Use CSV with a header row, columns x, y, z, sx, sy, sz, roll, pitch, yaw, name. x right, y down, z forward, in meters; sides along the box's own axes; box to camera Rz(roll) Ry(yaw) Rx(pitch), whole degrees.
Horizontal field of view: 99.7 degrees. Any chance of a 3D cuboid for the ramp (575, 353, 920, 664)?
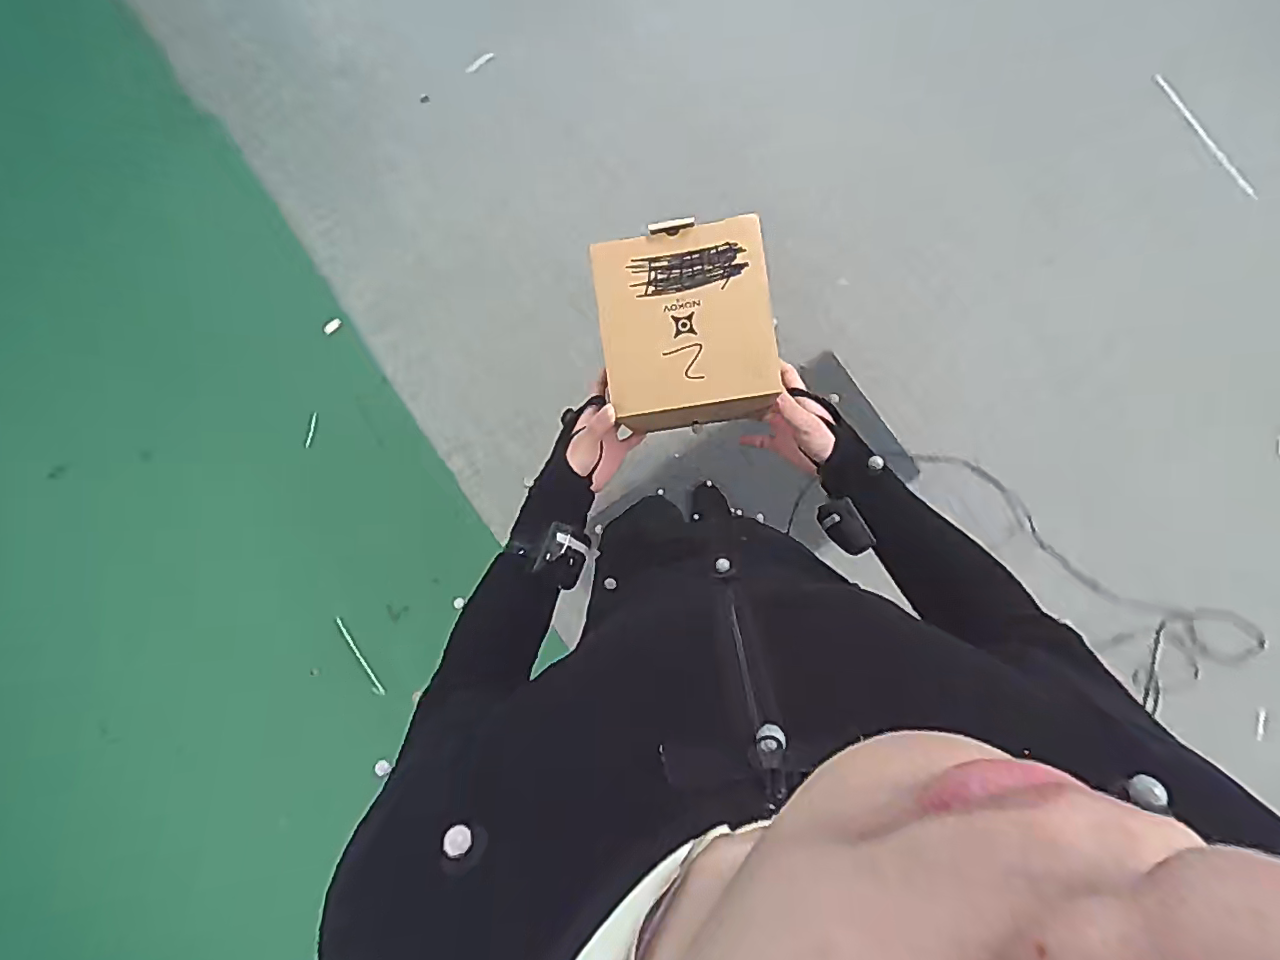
x,y,z,sx,sy,sz,roll,pitch,yaw,name
0.339,0.067,1.664,0.991,0.206,0.509,-38,86,5,ramp
